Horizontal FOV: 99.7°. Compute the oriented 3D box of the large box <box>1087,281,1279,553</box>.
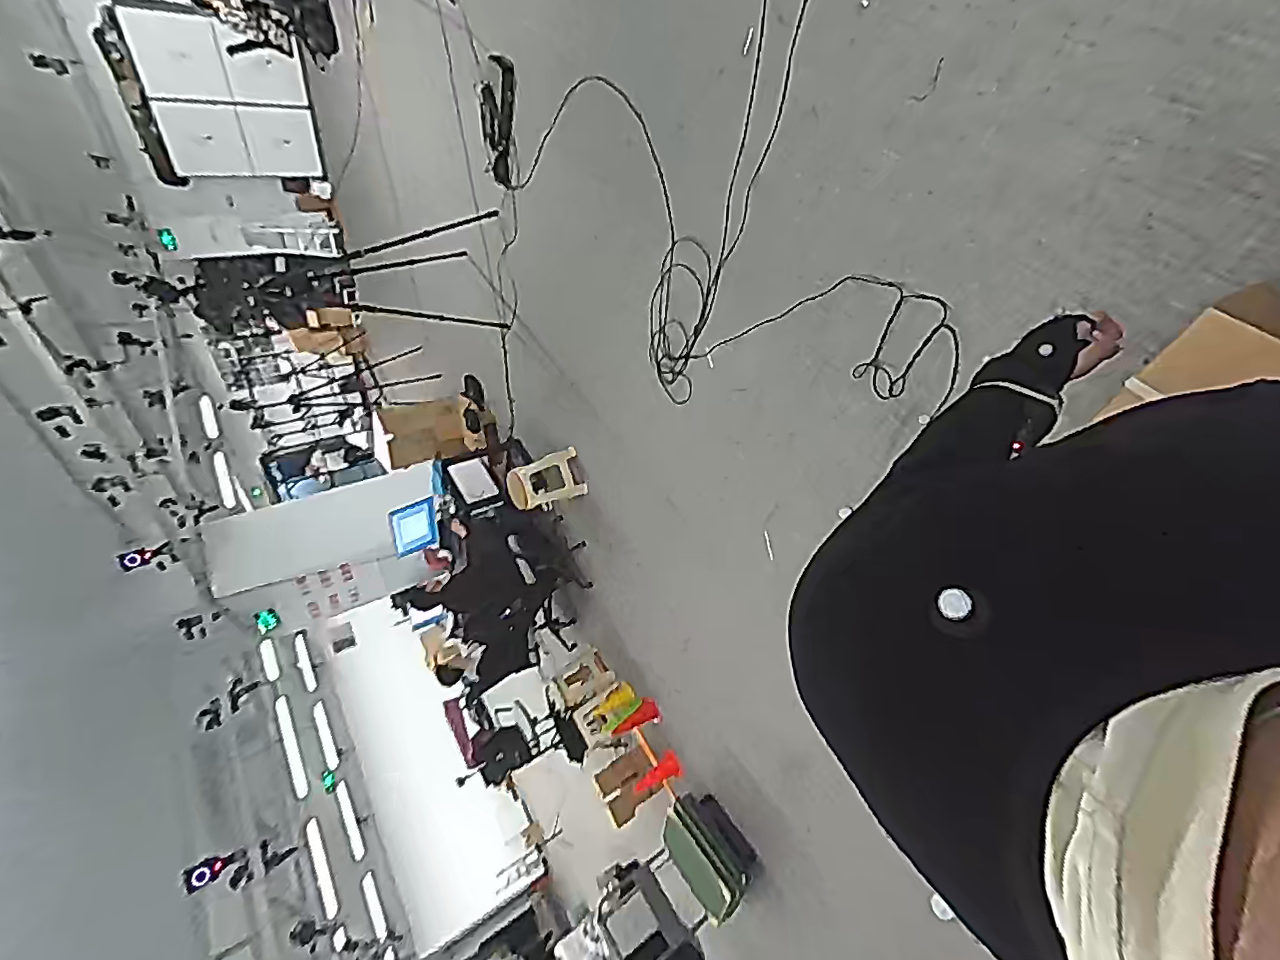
[{"bbox_3d":[1.169,-0.119,0.979,0.408,0.320,0.320,50,145,30],"label":"large box"}]
